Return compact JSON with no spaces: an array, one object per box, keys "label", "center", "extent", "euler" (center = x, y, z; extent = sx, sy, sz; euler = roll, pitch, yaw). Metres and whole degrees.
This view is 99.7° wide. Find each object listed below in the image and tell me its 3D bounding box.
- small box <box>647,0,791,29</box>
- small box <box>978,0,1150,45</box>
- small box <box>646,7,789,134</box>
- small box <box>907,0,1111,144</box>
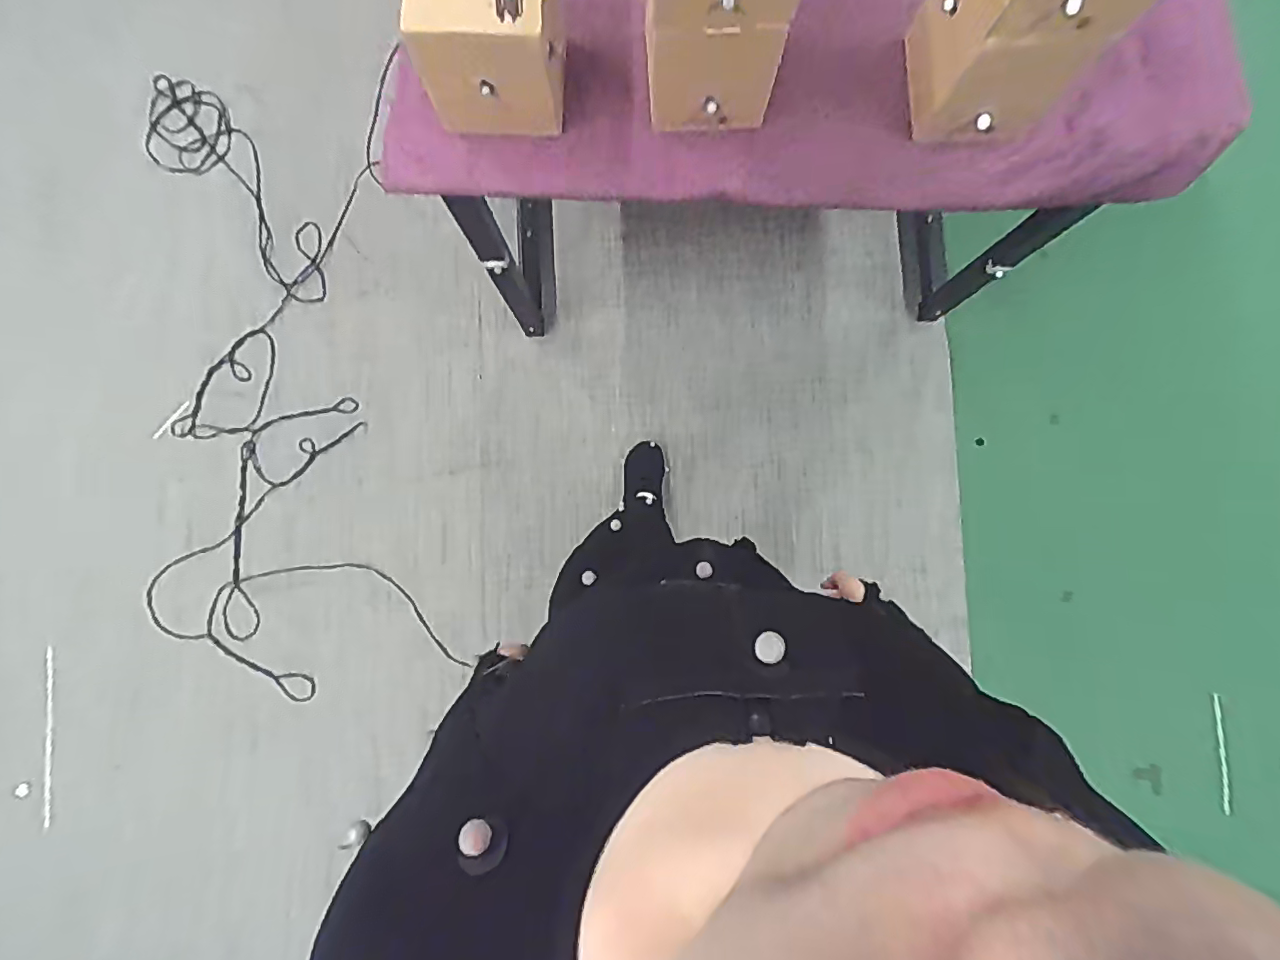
[{"label":"small box","center":[0.095,-0.633,0.582],"extent":[0.179,0.176,0.168],"euler":[-4,83,-1]},{"label":"small box","center":[0.492,-0.623,0.585],"extent":[0.168,0.176,0.179],"euler":[-2,85,0]},{"label":"small box","center":[0.096,-0.620,0.745],"extent":[0.168,0.176,0.179],"euler":[-4,84,0]},{"label":"small box","center":[0.491,-0.604,0.746],"extent":[0.168,0.176,0.179],"euler":[-2,85,0]}]
